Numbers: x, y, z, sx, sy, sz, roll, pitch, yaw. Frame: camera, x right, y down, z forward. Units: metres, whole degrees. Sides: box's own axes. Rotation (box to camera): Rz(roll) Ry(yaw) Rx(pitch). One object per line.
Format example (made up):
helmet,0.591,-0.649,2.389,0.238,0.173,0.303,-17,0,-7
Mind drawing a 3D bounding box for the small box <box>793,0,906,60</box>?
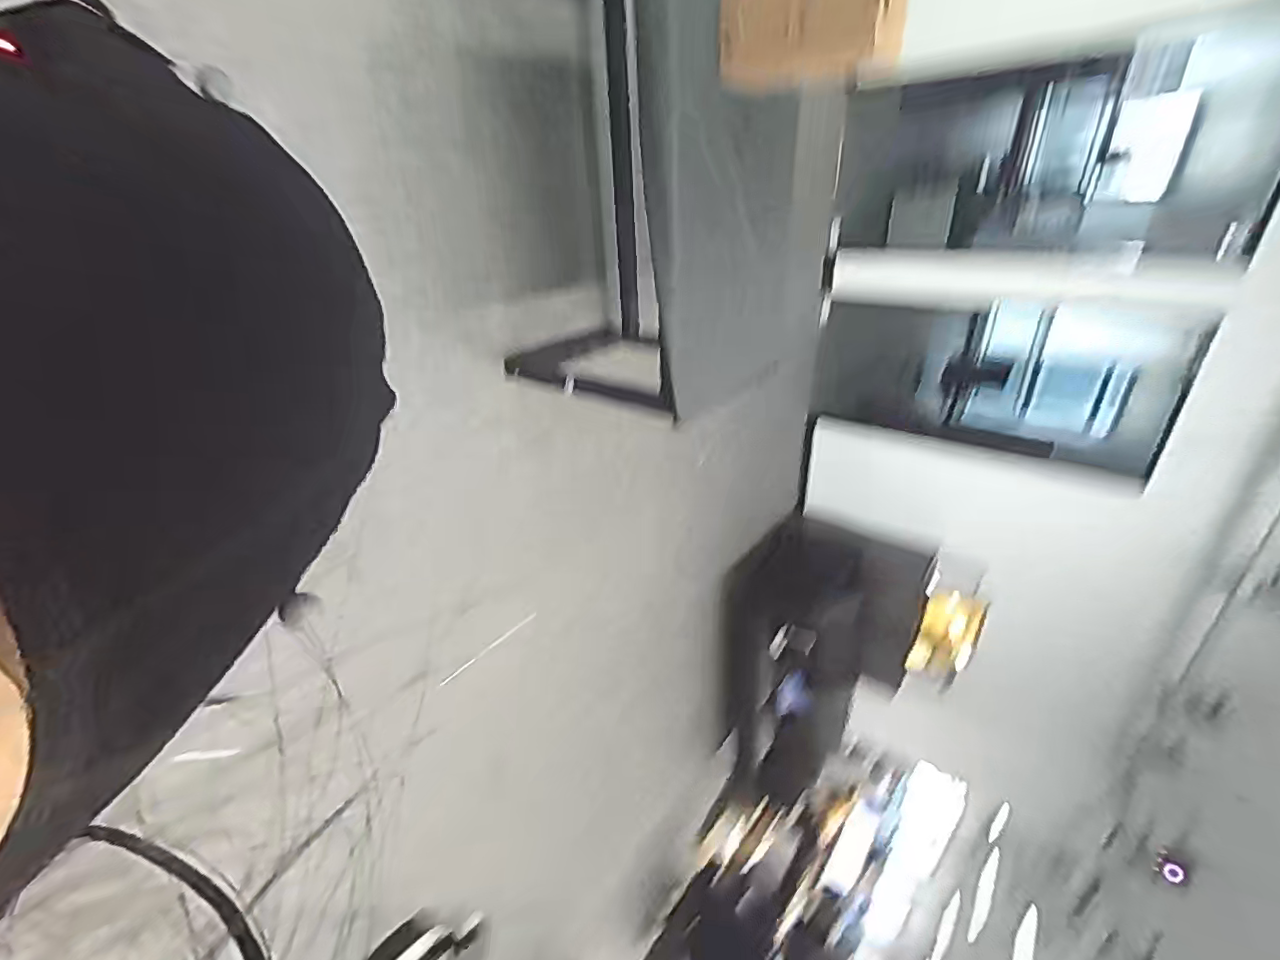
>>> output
small box,0.416,-0.953,1.066,0.179,0.176,0.168,-33,131,-44
